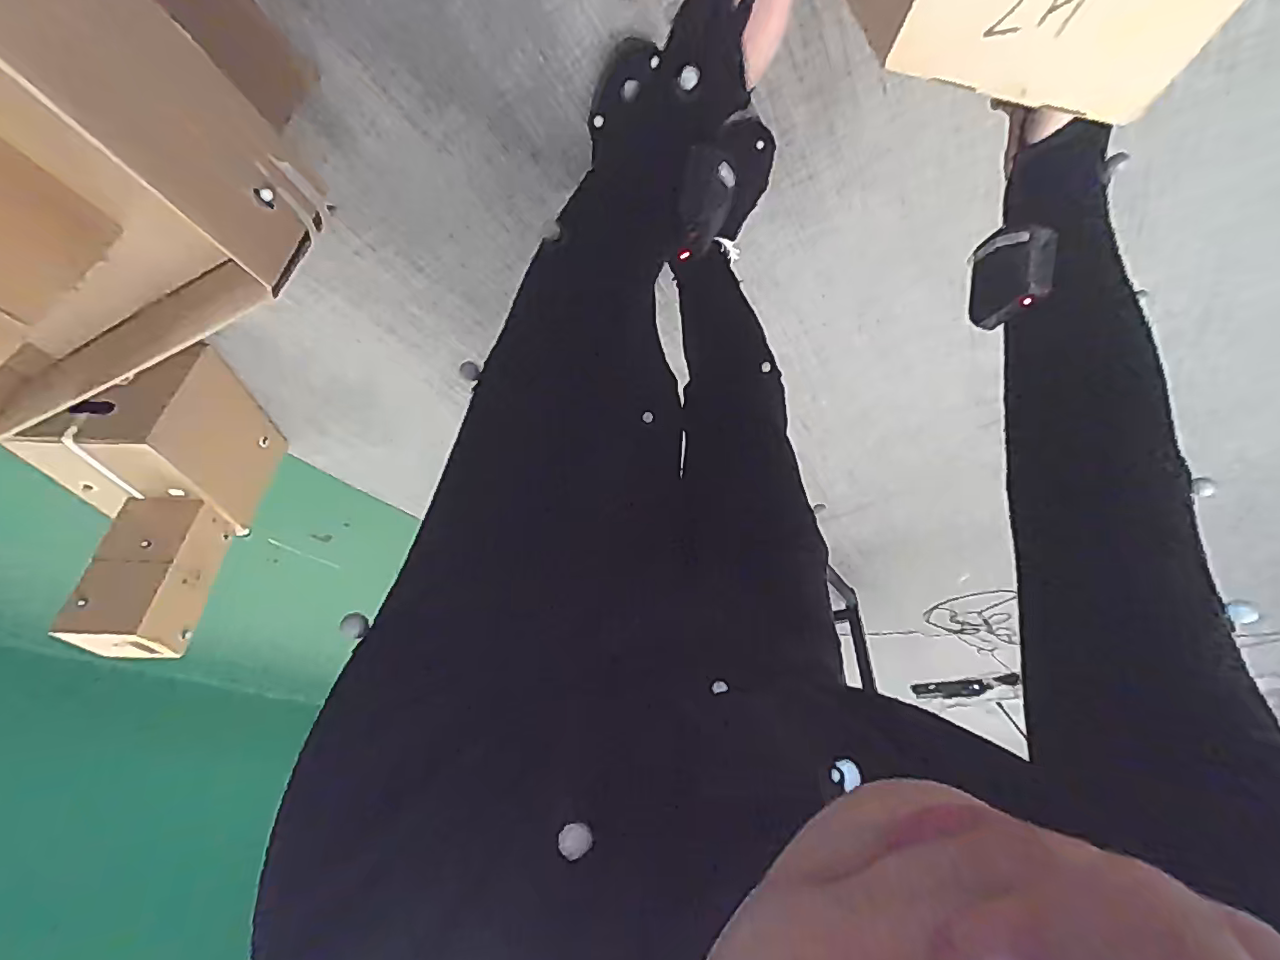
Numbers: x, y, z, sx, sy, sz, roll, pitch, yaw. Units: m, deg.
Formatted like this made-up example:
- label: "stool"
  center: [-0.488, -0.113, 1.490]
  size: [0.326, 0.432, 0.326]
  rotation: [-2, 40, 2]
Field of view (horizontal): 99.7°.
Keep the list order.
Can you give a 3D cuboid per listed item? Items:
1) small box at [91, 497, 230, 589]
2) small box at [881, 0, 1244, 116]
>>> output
- label: "small box"
  center: [-1.146, 0.153, 1.318]
  size: [0.179, 0.176, 0.168]
  rotation: [4, 145, -6]
- label: "small box"
  center: [0.235, -0.338, 0.281]
  size: [0.168, 0.176, 0.179]
  rotation: [6, 148, -9]
